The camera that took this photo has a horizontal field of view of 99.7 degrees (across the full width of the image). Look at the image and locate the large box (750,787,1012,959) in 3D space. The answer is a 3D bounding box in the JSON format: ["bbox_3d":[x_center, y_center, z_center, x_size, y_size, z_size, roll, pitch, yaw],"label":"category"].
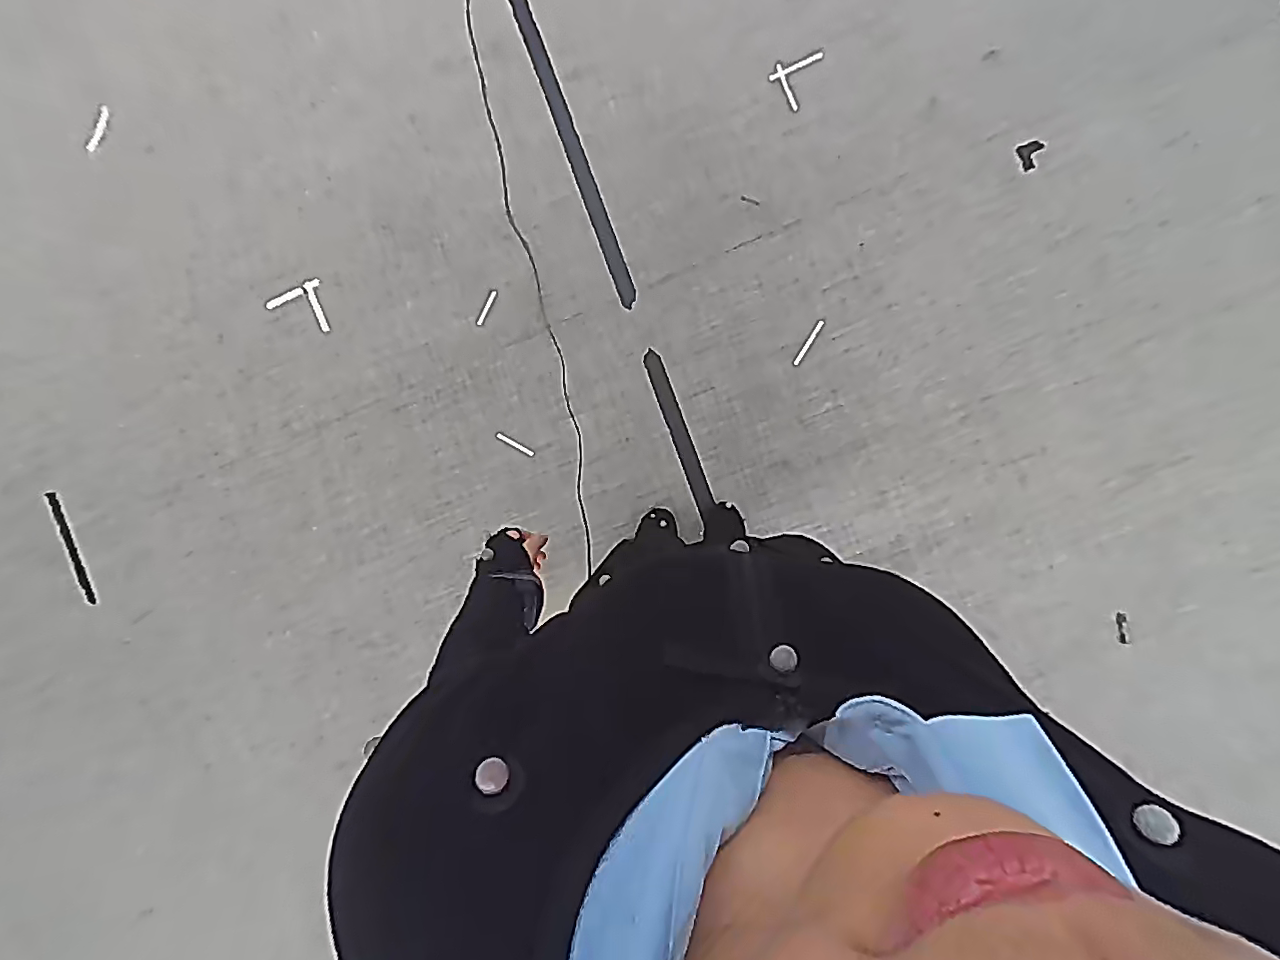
[{"bbox_3d":[0.488,0.926,1.126,0.408,0.320,0.320,-21,89,3],"label":"large box"}]
